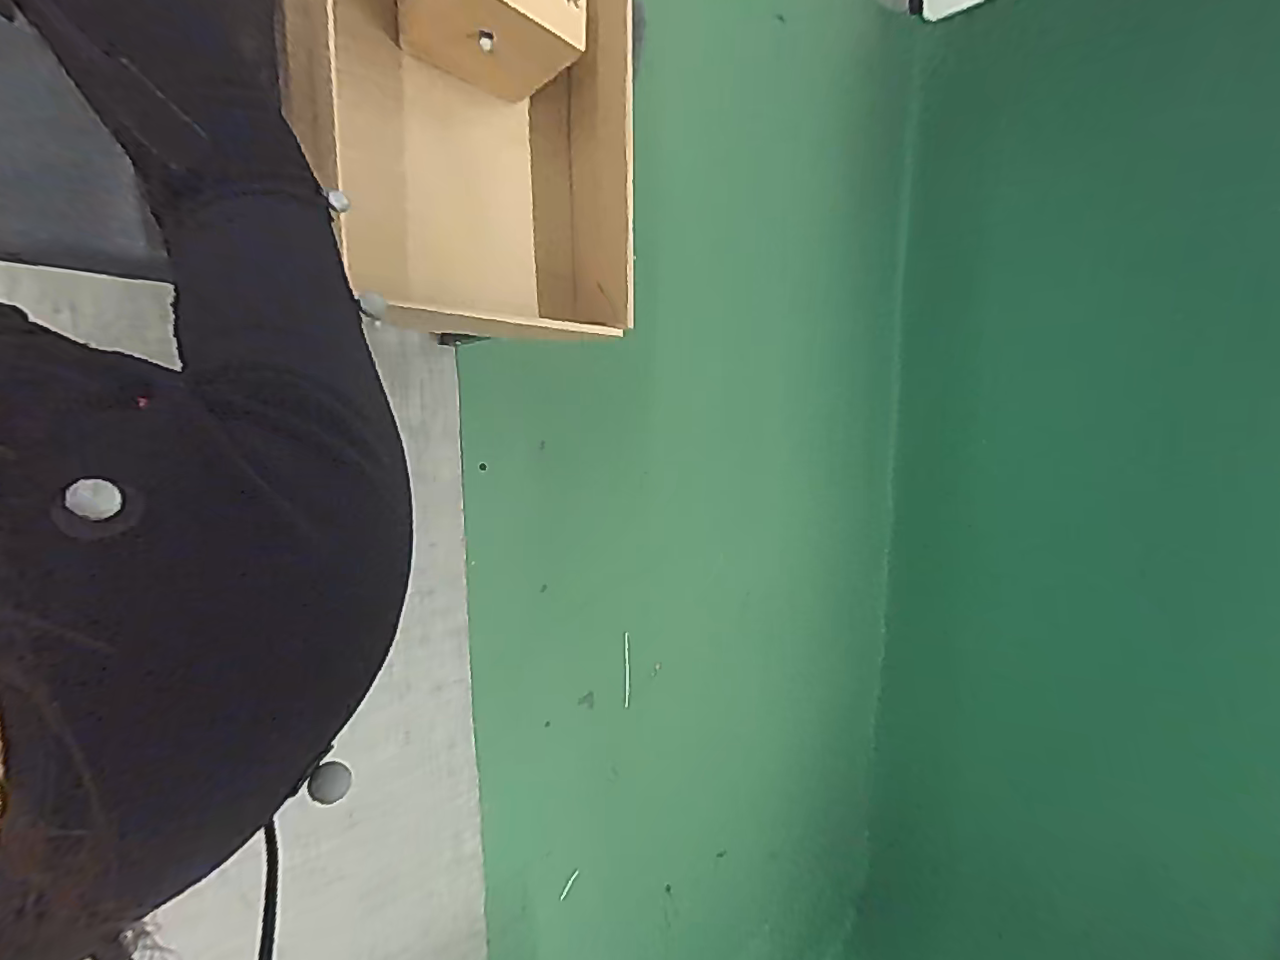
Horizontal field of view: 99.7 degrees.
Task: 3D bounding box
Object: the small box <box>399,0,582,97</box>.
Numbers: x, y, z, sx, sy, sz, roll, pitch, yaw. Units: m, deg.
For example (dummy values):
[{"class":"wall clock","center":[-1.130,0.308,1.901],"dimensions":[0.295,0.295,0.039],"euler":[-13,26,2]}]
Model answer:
[{"class":"small box","center":[-0.190,-0.625,0.678],"dimensions":[0.179,0.176,0.168],"euler":[-4,99,-42]}]
